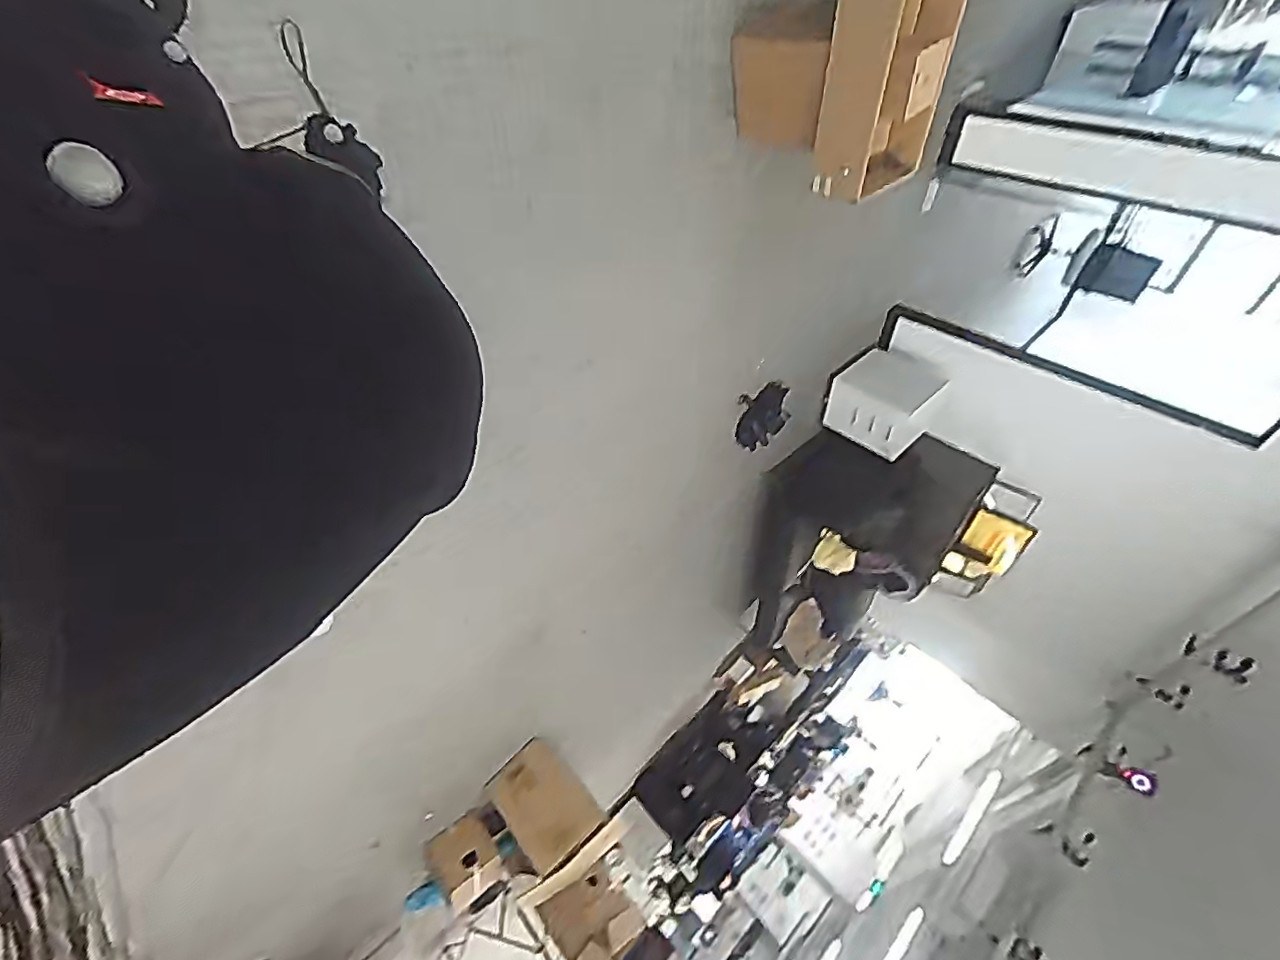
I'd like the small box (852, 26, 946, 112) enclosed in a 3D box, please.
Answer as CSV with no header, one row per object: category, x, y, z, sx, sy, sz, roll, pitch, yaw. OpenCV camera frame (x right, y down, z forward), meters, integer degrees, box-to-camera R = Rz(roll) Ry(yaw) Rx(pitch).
small box,0.760,-1.221,1.599,0.179,0.176,0.168,-41,144,-22
